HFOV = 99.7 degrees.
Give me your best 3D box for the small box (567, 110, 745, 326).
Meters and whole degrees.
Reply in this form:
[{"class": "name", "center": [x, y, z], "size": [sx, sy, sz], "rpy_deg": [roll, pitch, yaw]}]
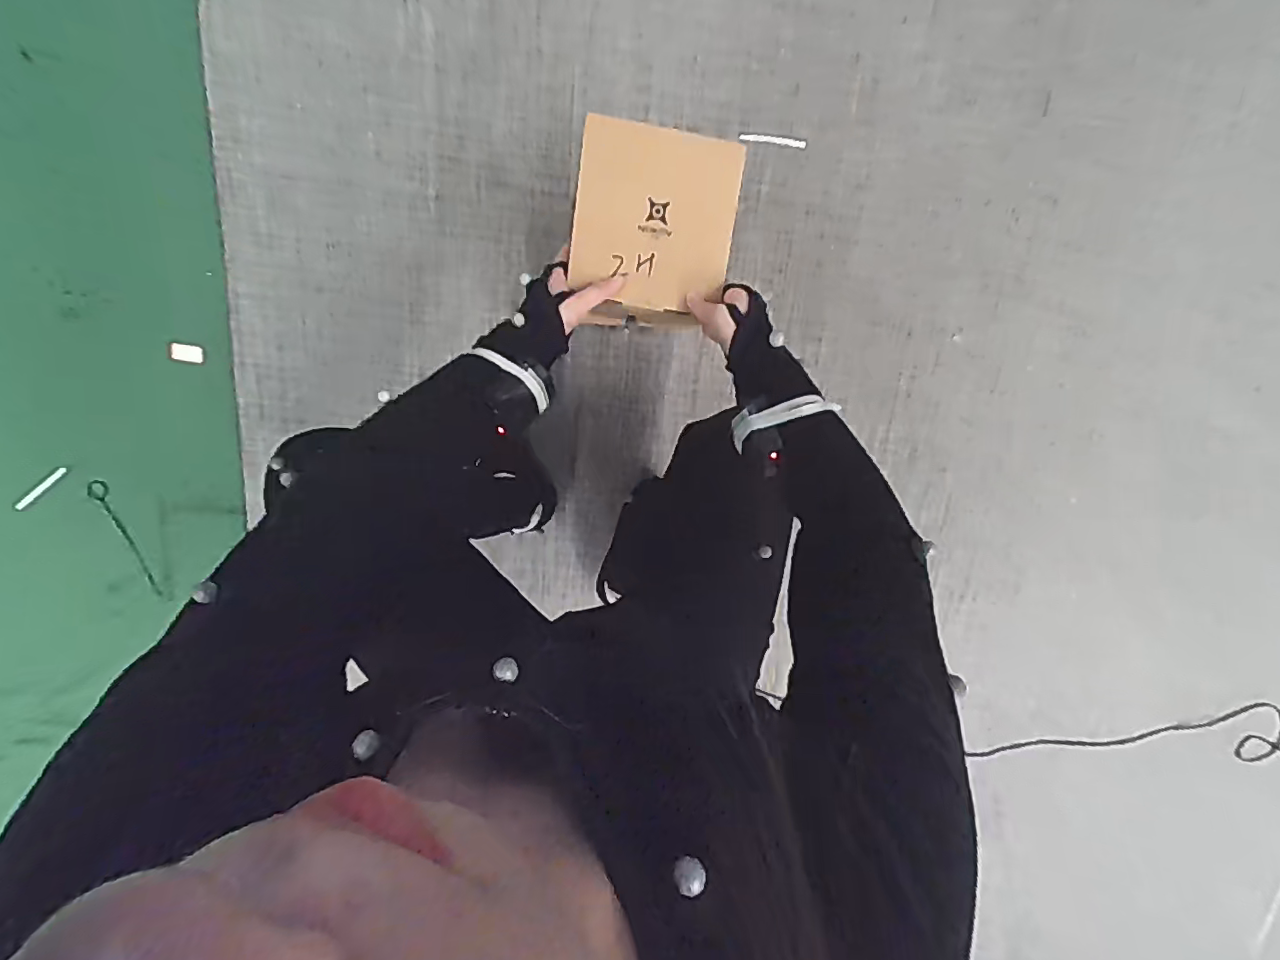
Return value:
[{"class": "small box", "center": [0.008, -0.289, 0.638], "size": [0.168, 0.176, 0.179], "rpy_deg": [8, 101, -7]}]
